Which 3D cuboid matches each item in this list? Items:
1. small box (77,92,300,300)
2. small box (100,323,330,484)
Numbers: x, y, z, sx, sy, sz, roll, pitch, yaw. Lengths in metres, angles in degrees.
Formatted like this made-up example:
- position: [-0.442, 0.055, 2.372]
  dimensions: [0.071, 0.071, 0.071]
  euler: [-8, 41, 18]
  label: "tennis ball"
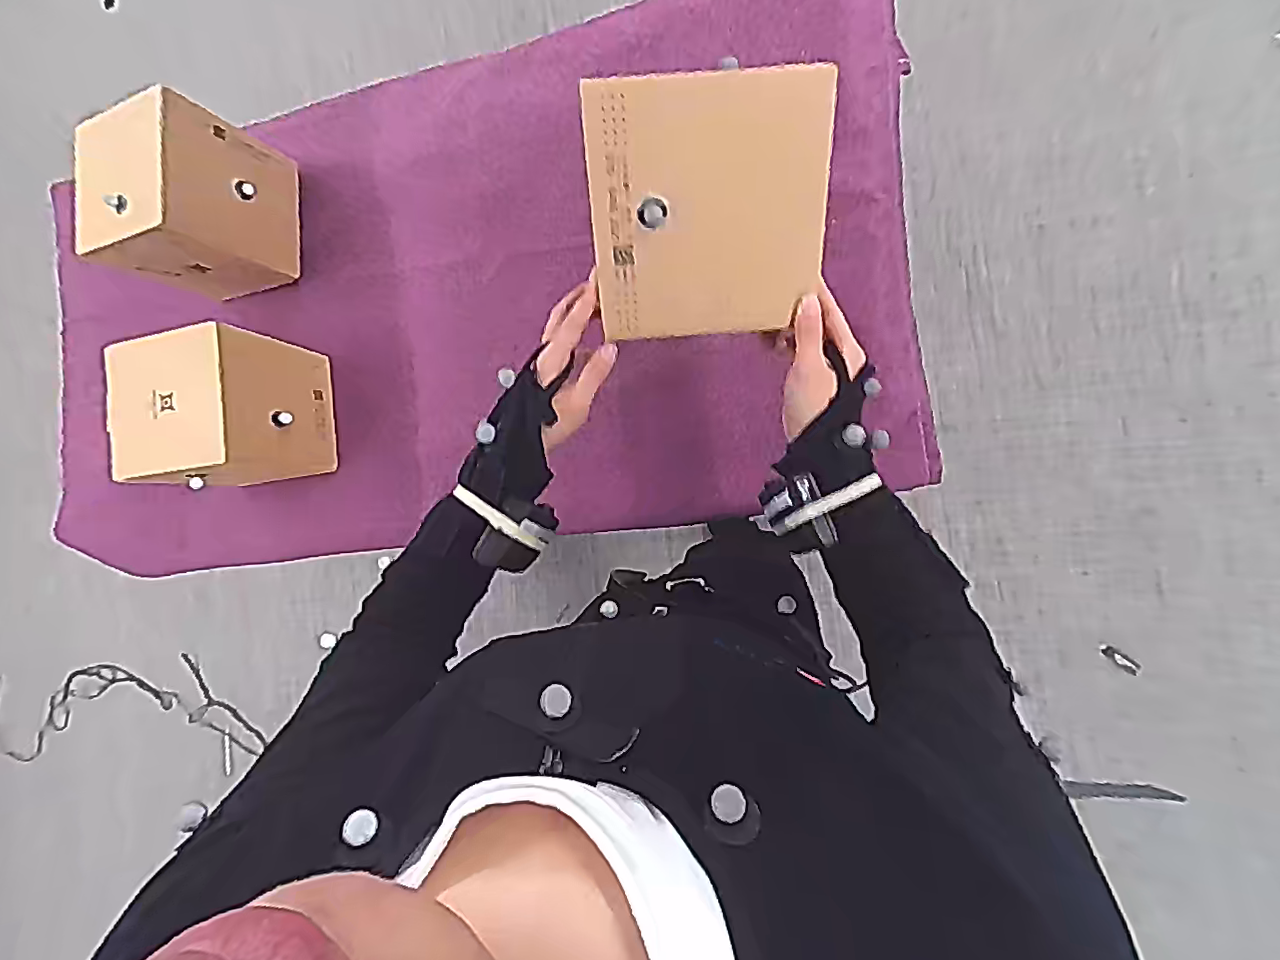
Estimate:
- position: [-0.581, -0.356, 0.703]
  dimensions: [0.179, 0.168, 0.176]
  euler: [-3, 87, 21]
  label: "small box"
- position: [-0.530, -0.086, 0.698]
  dimensions: [0.179, 0.176, 0.168]
  euler: [-7, 87, 13]
  label: "small box"
